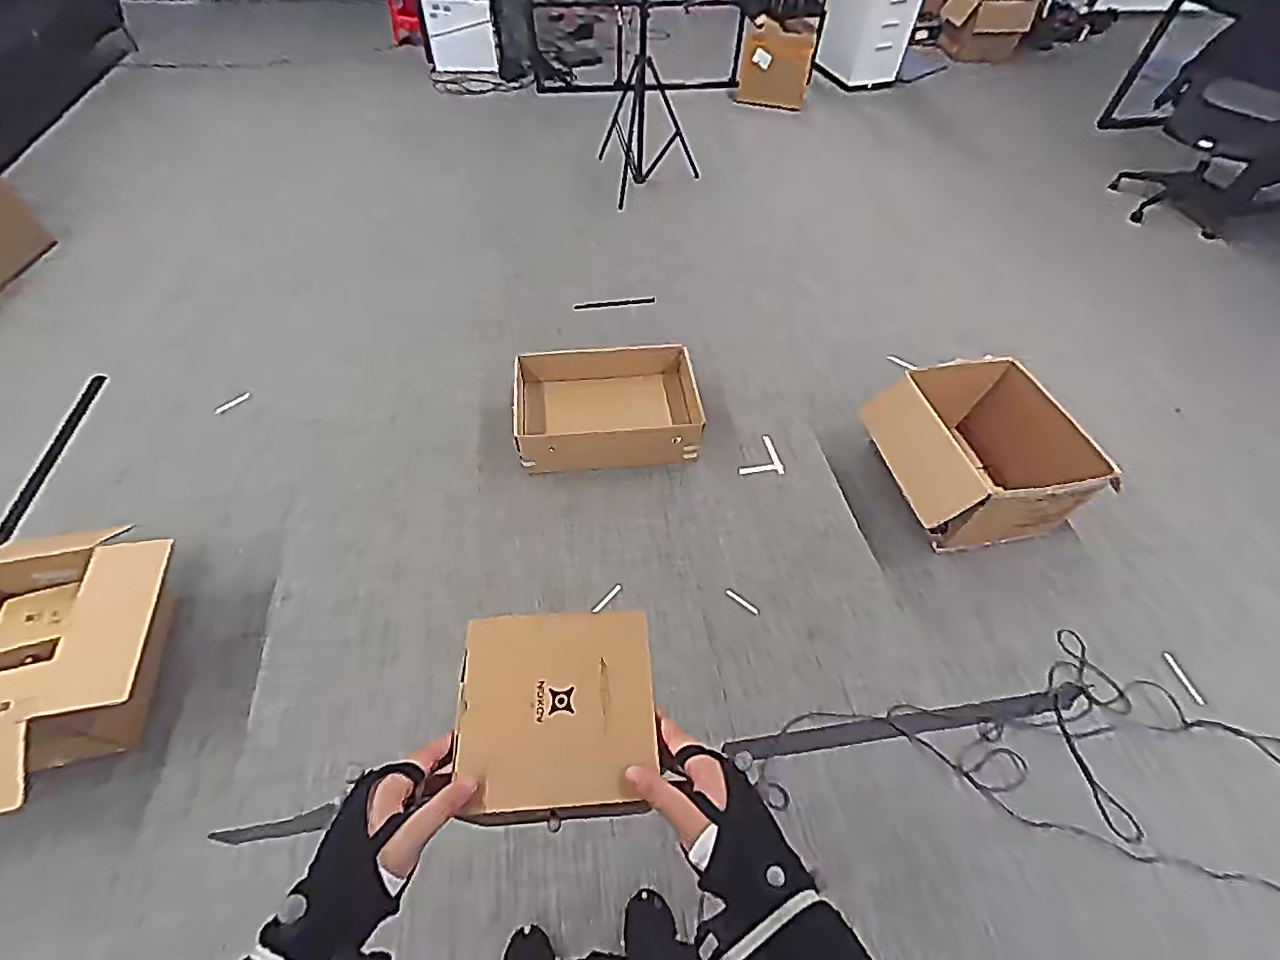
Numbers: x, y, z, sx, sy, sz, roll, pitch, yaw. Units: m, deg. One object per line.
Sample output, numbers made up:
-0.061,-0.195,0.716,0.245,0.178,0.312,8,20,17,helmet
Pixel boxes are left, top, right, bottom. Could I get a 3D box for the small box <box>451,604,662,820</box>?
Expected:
-0.077,0.240,0.552,0.179,0.176,0.168,-2,55,-6,small box
